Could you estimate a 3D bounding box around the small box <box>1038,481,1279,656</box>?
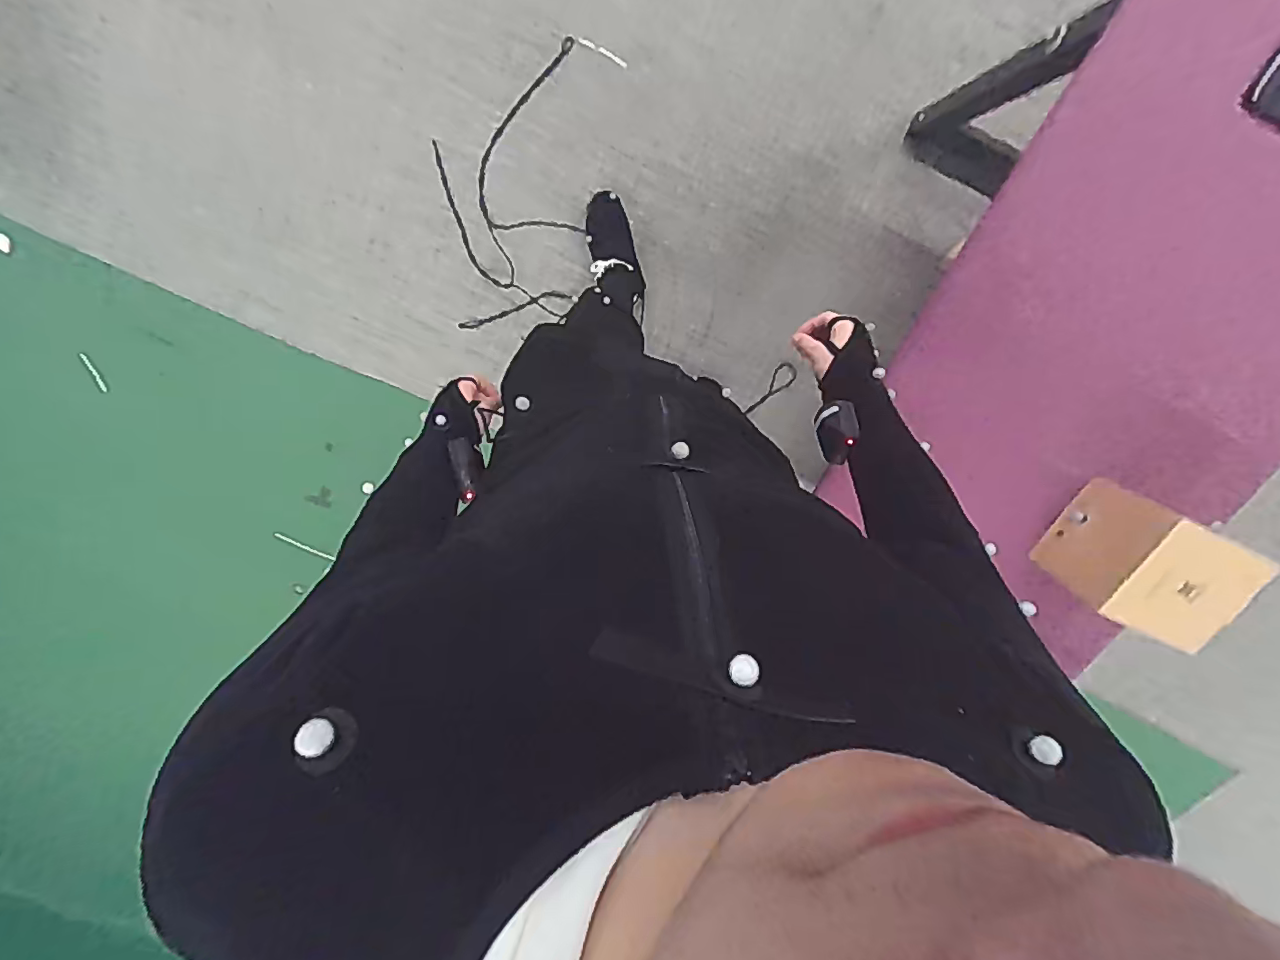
[{"bbox_3d":[0.766,0.122,0.811,0.179,0.176,0.168,24,110,-6],"label":"small box"}]
